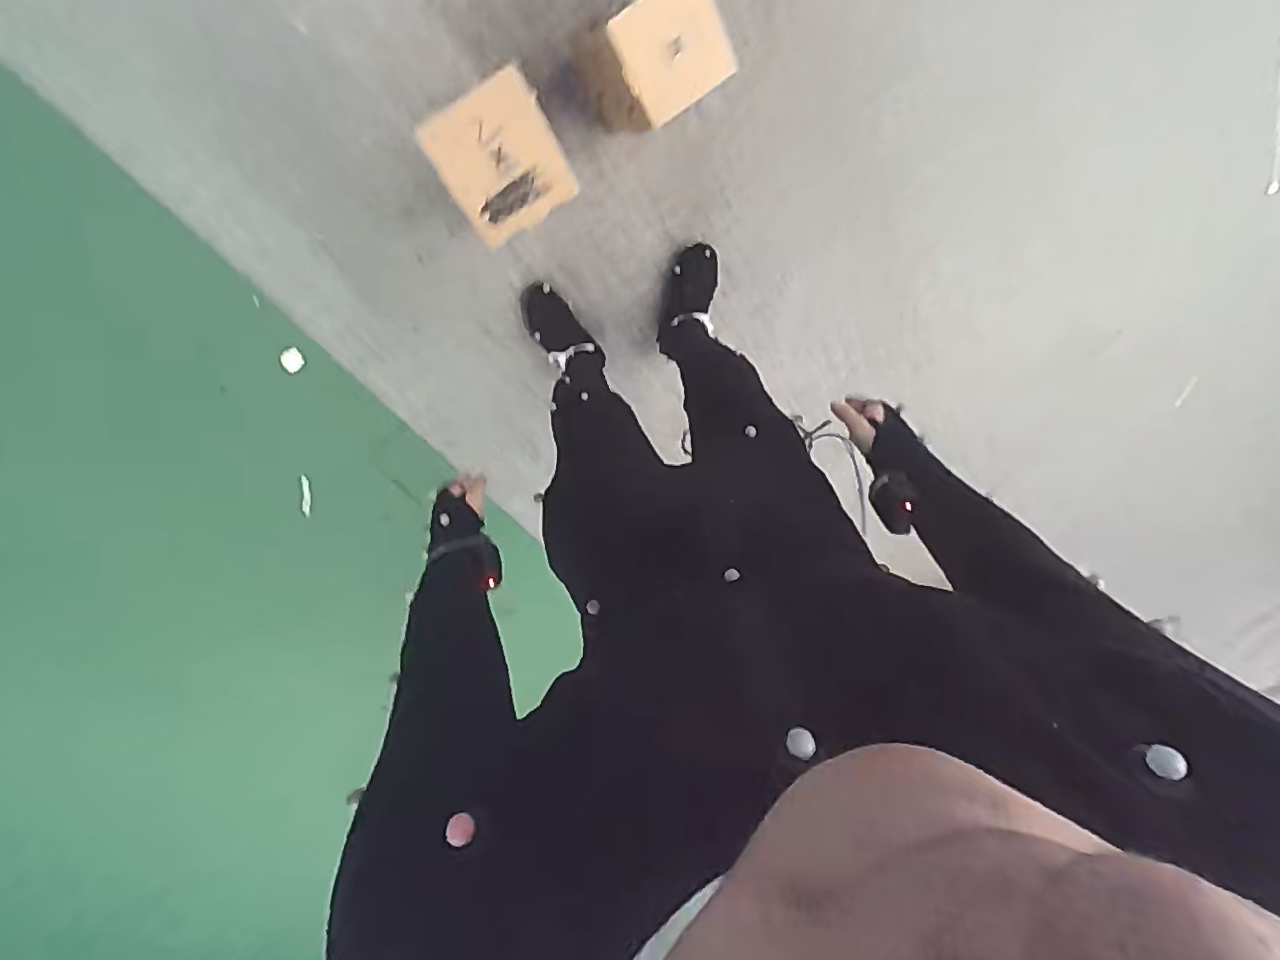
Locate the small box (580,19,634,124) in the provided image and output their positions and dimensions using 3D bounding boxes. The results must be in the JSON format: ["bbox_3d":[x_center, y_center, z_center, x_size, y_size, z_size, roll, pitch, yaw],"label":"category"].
[{"bbox_3d":[-0.007,-0.844,1.081,0.179,0.176,0.168,-35,123,8],"label":"small box"}]

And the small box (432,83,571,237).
[{"bbox_3d":[-0.246,-0.573,0.977,0.168,0.176,0.179,-32,123,4],"label":"small box"}]

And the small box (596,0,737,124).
[{"bbox_3d":[0.038,-0.757,0.949,0.179,0.176,0.168,-34,123,5],"label":"small box"}]
